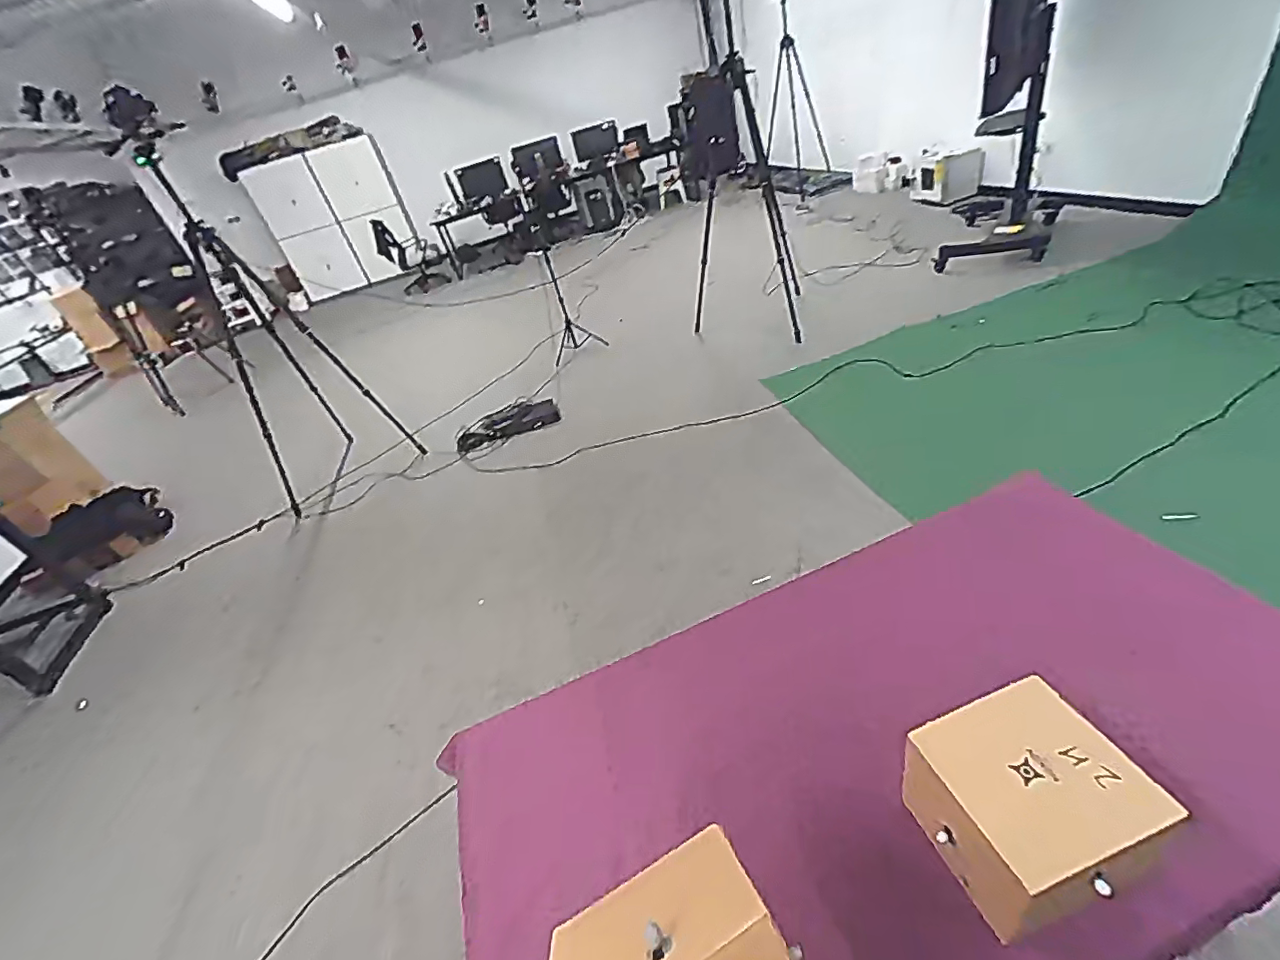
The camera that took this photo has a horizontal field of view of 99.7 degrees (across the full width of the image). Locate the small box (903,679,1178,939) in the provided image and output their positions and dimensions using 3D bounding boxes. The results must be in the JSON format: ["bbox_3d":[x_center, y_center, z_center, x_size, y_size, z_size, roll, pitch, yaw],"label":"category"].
[{"bbox_3d":[0.424,0.367,0.606,0.179,0.176,0.168,-21,36,-6],"label":"small box"}]

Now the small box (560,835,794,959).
[{"bbox_3d":[0.043,0.416,0.405,0.179,0.176,0.168,-27,79,-12],"label":"small box"}]
